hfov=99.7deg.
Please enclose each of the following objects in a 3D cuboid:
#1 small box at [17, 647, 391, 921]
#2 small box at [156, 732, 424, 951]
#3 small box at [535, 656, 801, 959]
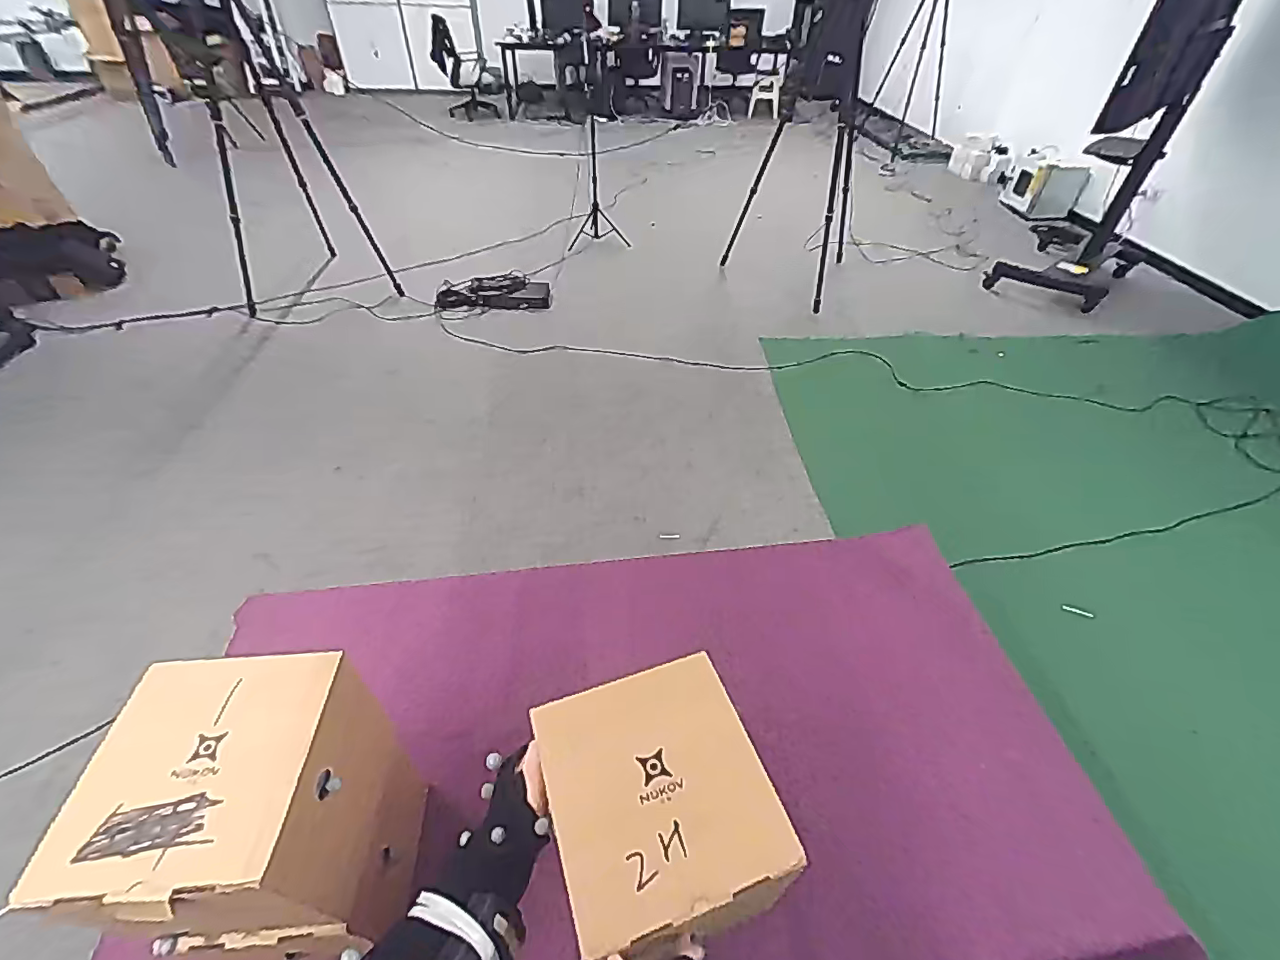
[{"bbox_3d":[-0.344,0.271,0.481,0.168,0.176,0.179,-1,44,-4],"label":"small box"},{"bbox_3d":[-0.351,0.394,0.591,0.168,0.176,0.179,-1,45,-5],"label":"small box"},{"bbox_3d":[0.010,0.291,0.475,0.168,0.176,0.179,-13,46,-14],"label":"small box"}]
